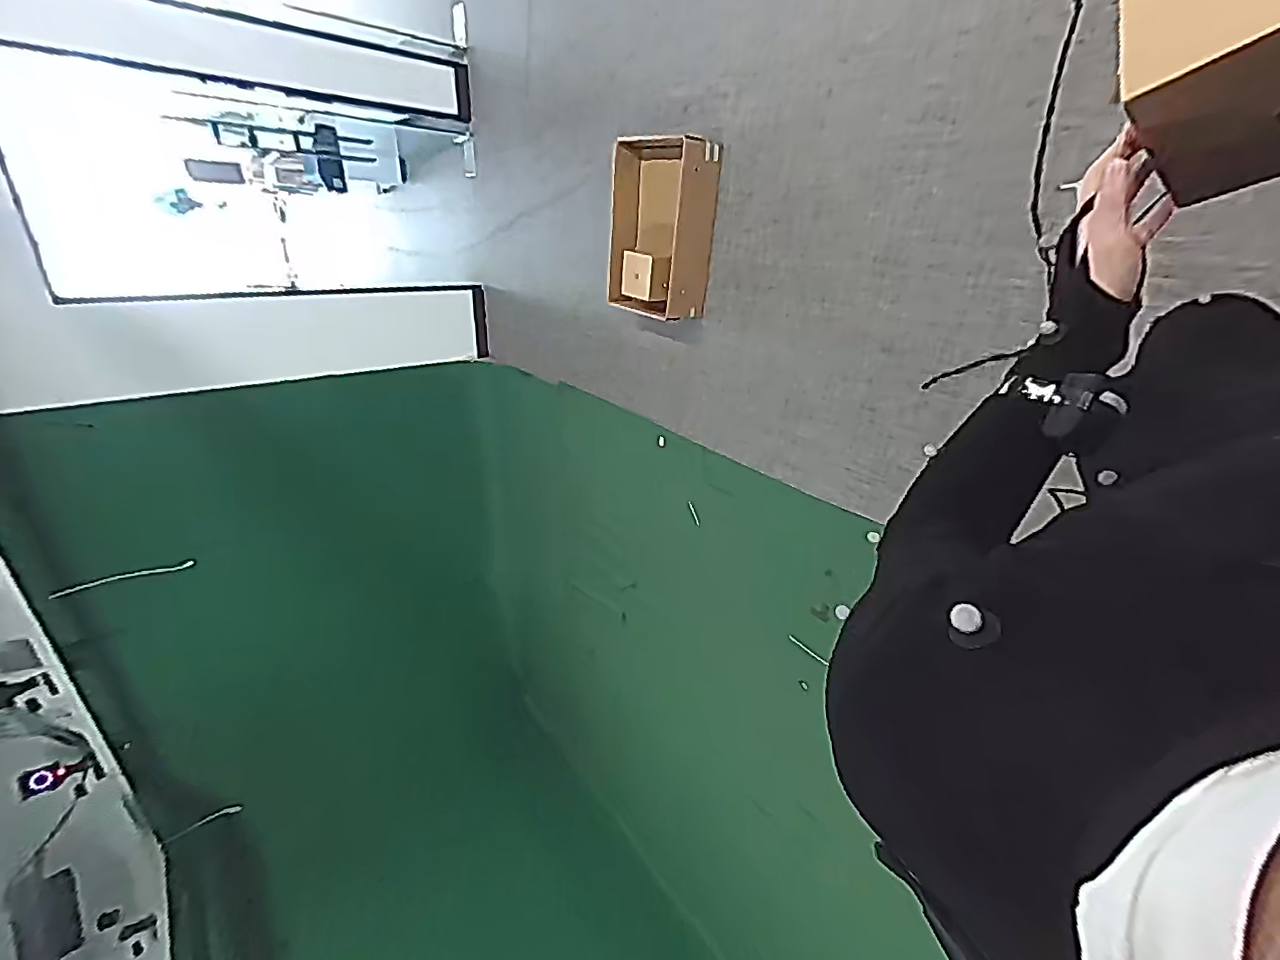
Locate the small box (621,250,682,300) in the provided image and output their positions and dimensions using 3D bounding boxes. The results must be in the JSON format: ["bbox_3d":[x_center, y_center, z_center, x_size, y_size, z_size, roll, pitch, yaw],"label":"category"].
[{"bbox_3d":[0.046,-0.823,2.155,0.179,0.176,0.168,33,128,42],"label":"small box"}]

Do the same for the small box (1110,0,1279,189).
[{"bbox_3d":[0.476,-0.349,0.395,0.168,0.176,0.179,-6,73,55],"label":"small box"}]
